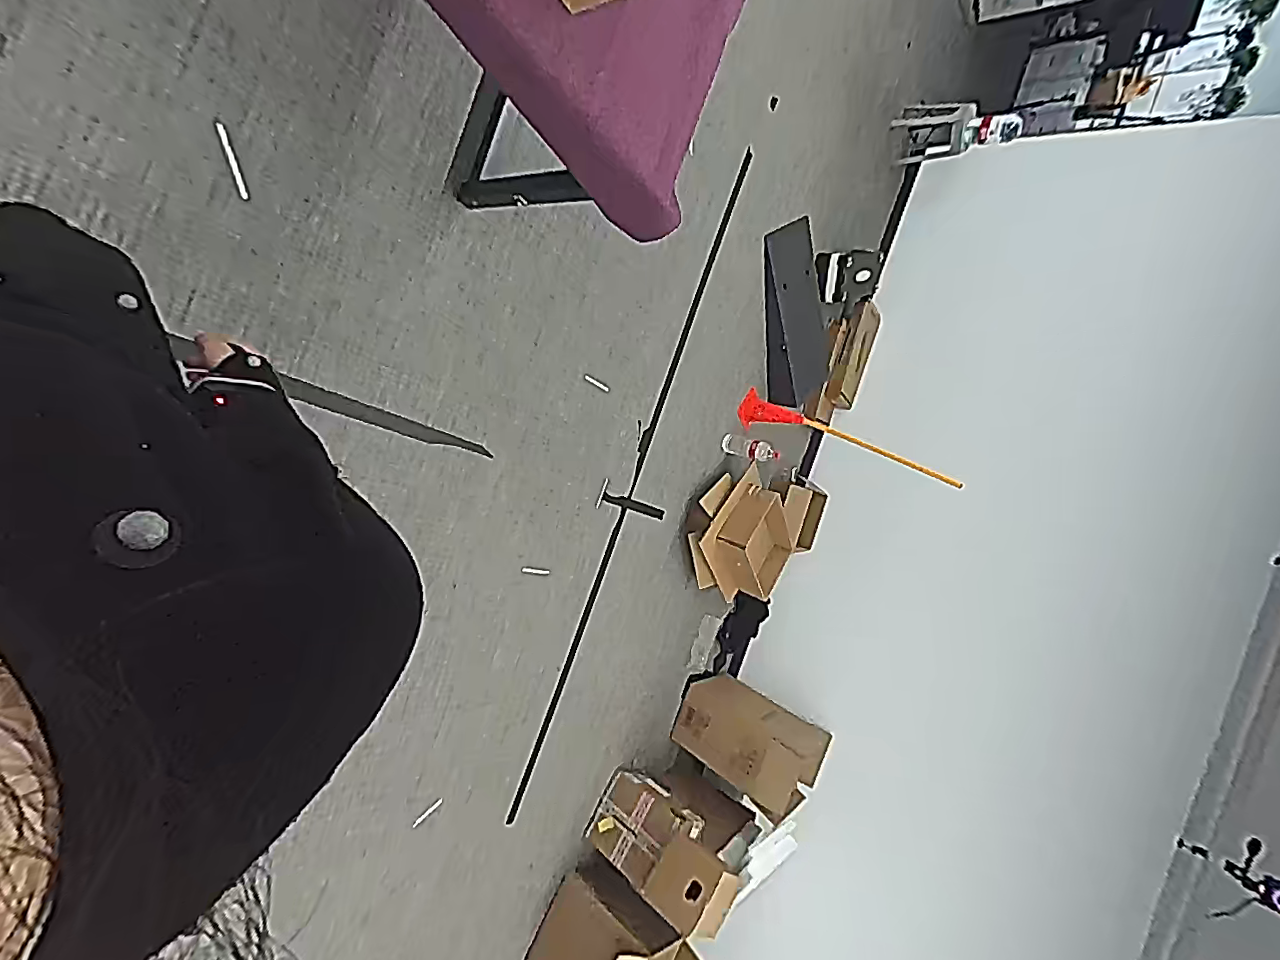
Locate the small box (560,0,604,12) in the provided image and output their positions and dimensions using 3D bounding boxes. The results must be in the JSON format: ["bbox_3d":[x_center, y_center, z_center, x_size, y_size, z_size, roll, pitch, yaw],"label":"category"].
[{"bbox_3d":[-0.067,-0.819,0.759,0.168,0.176,0.179,22,87,-53],"label":"small box"}]
